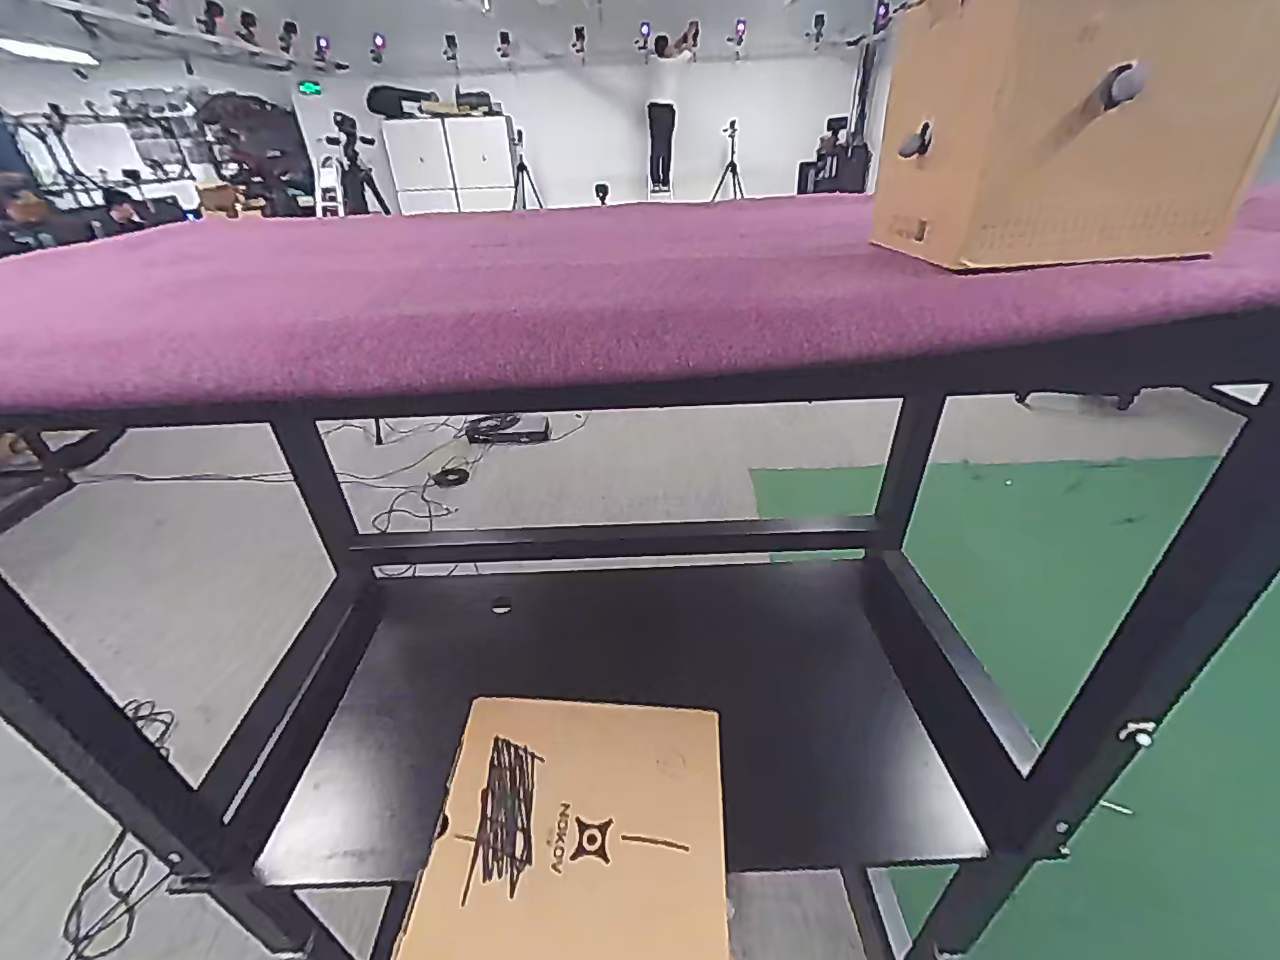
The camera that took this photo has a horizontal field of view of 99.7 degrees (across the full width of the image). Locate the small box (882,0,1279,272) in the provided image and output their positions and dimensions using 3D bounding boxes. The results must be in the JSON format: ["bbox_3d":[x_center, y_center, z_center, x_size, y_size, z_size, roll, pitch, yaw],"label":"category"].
[{"bbox_3d":[0.294,-0.253,0.392,0.179,0.176,0.168,-3,31,2],"label":"small box"}]
